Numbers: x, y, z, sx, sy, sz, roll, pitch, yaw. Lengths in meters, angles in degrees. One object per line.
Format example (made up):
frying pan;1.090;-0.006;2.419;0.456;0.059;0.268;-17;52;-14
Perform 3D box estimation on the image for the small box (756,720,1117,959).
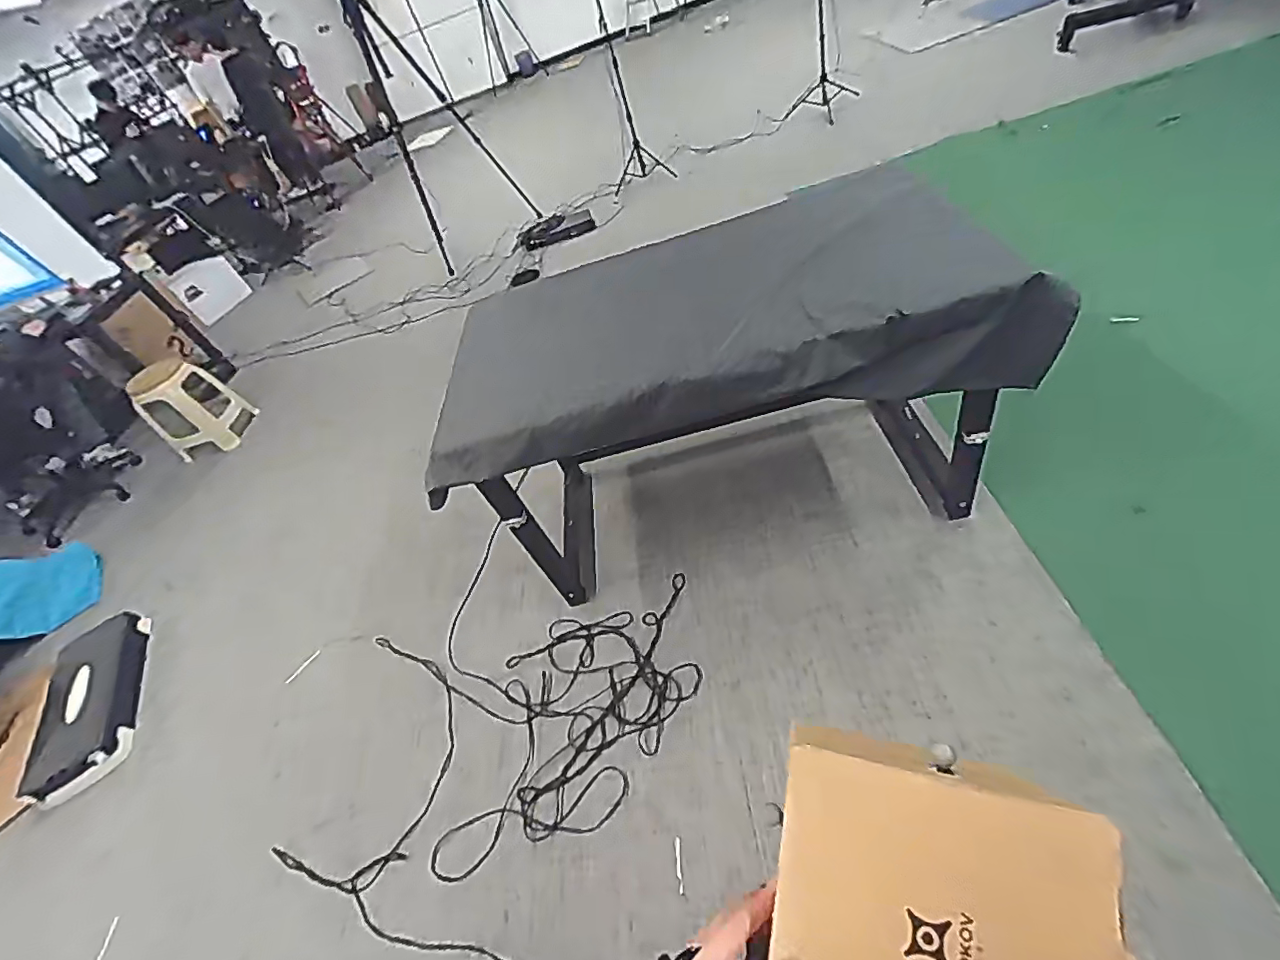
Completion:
small box;0.180;0.271;0.371;0.179;0.176;0.168;6;73;17
